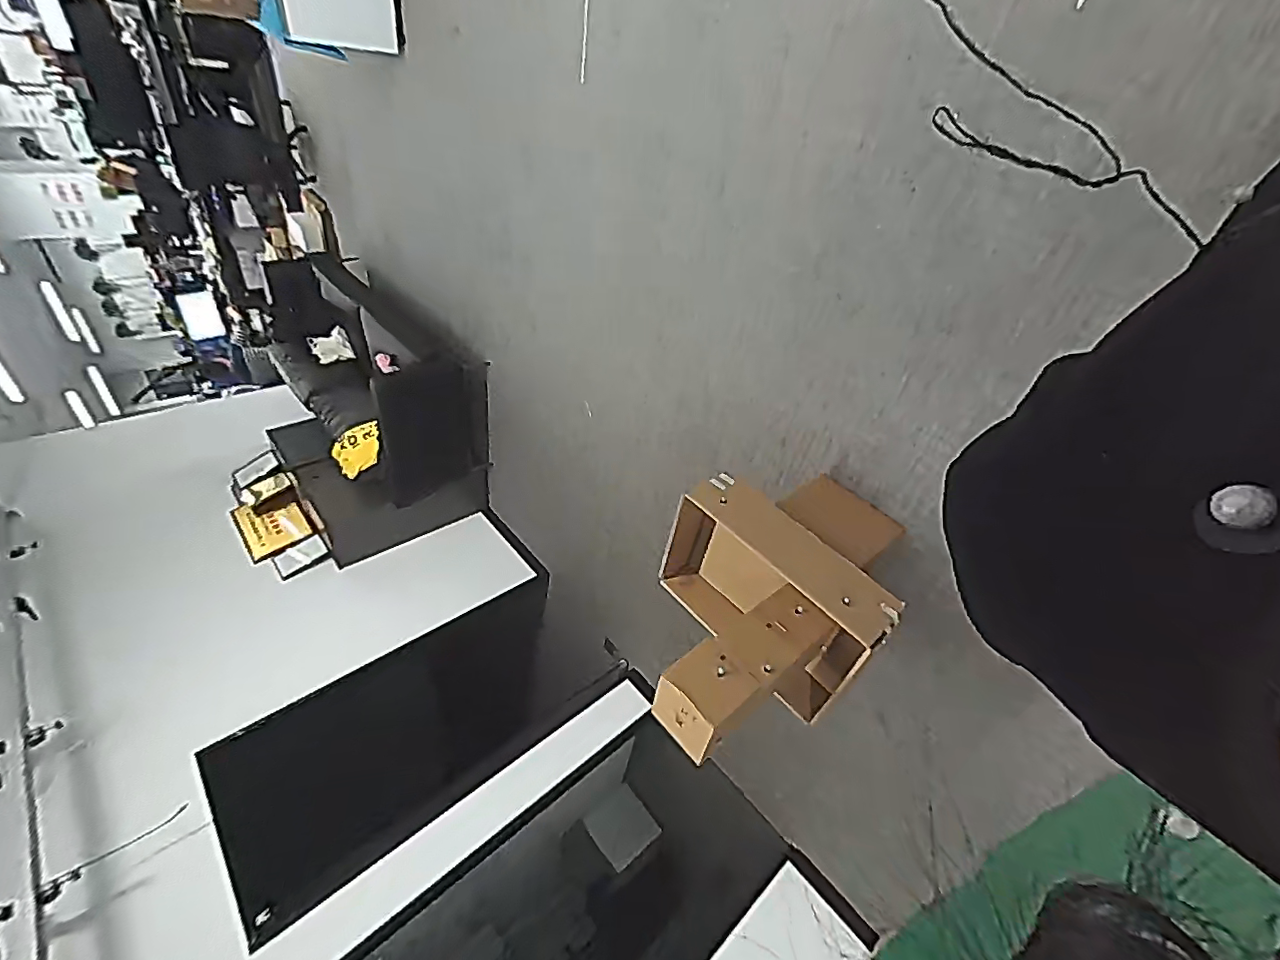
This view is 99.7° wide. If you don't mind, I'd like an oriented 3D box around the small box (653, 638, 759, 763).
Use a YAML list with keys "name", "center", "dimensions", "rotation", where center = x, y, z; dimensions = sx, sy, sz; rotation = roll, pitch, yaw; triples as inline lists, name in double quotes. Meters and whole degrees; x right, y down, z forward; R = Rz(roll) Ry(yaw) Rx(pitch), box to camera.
- name: "small box"
  center: [0.154, 0.513, 1.273]
  dimensions: [0.168, 0.176, 0.179]
  rotation: [39, 136, 32]
